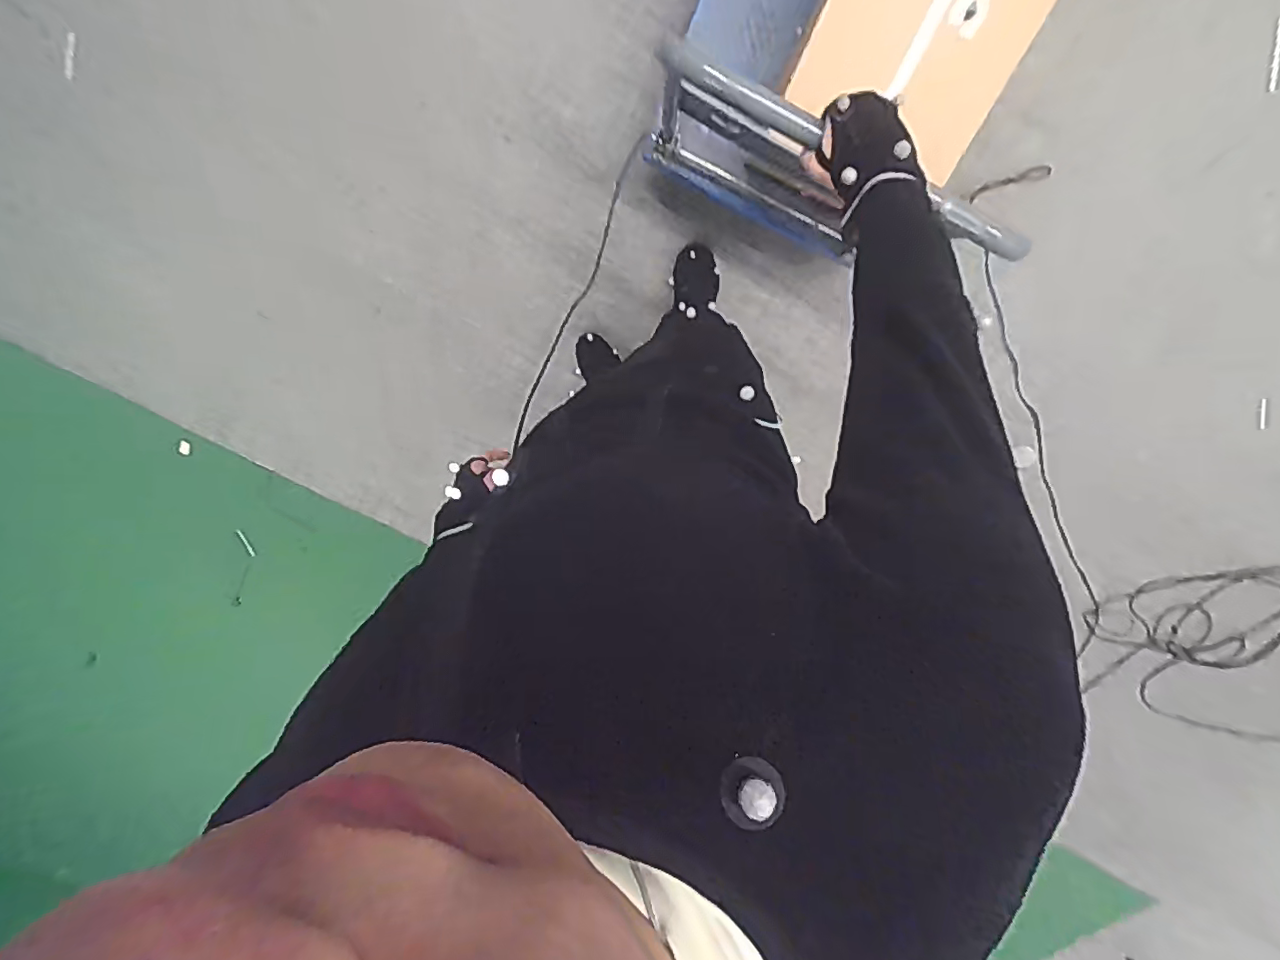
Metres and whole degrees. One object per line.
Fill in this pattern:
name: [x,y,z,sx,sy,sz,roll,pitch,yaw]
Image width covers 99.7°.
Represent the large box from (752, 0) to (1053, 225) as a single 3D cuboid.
large box: [0.443,-0.732,0.987,0.320,0.320,0.408,23,114,-7]
